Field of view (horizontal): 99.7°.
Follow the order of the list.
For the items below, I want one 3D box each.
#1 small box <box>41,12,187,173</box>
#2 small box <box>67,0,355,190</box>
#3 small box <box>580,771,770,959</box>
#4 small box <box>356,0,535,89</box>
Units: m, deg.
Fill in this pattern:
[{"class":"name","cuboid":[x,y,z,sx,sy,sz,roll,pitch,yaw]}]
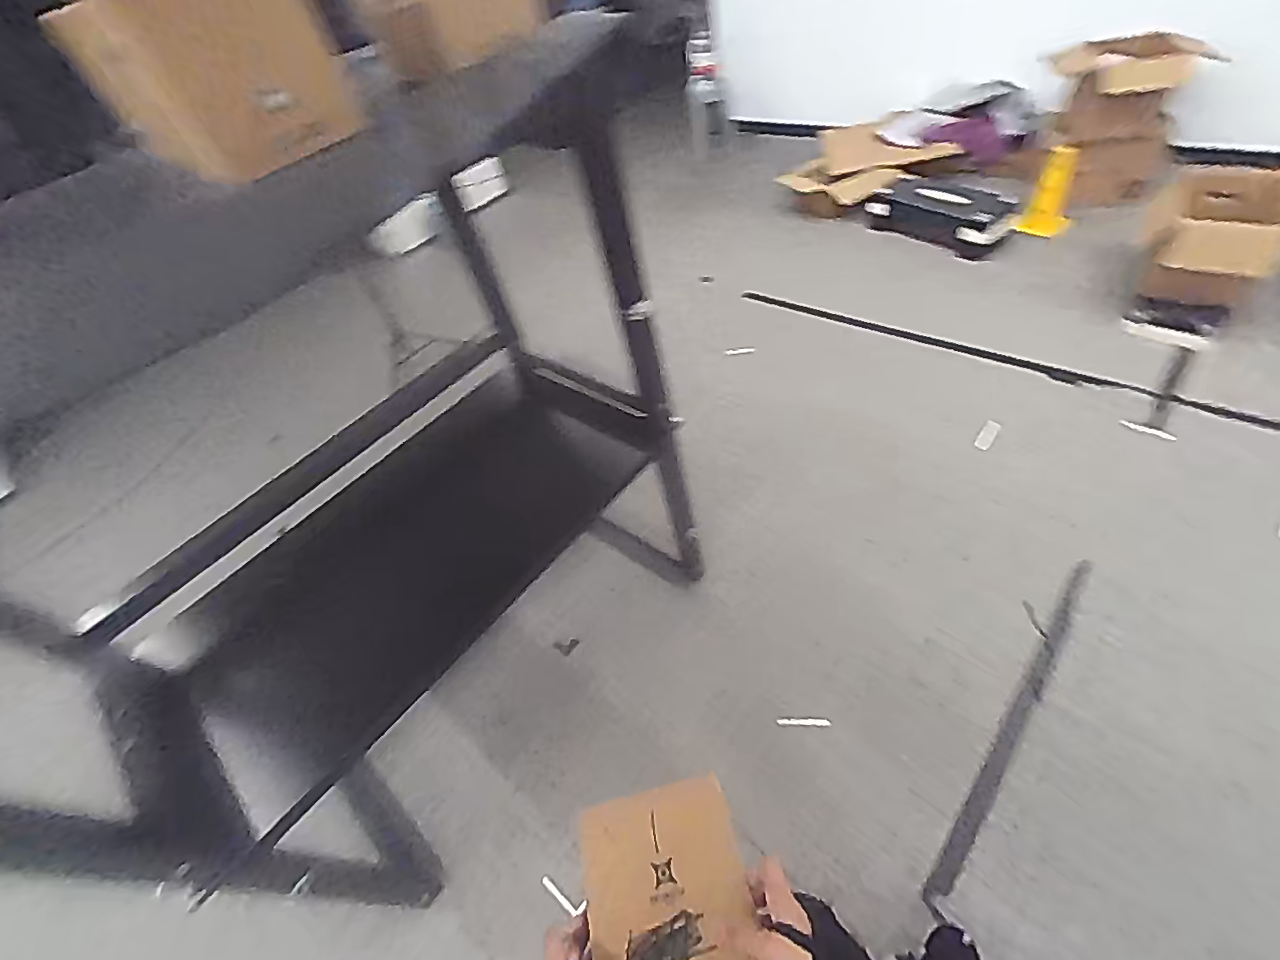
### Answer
[{"class":"small box","cuboid":[-0.640,-0.552,0.743,0.168,0.176,0.179,30,63,34]},{"class":"small box","cuboid":[-0.463,-0.446,0.601,0.179,0.176,0.168,29,63,35]},{"class":"small box","cuboid":[0.041,0.455,0.600,0.168,0.176,0.179,-15,47,-1]},{"class":"small box","cuboid":[-0.274,-0.653,0.730,0.179,0.176,0.168,31,65,35]}]
